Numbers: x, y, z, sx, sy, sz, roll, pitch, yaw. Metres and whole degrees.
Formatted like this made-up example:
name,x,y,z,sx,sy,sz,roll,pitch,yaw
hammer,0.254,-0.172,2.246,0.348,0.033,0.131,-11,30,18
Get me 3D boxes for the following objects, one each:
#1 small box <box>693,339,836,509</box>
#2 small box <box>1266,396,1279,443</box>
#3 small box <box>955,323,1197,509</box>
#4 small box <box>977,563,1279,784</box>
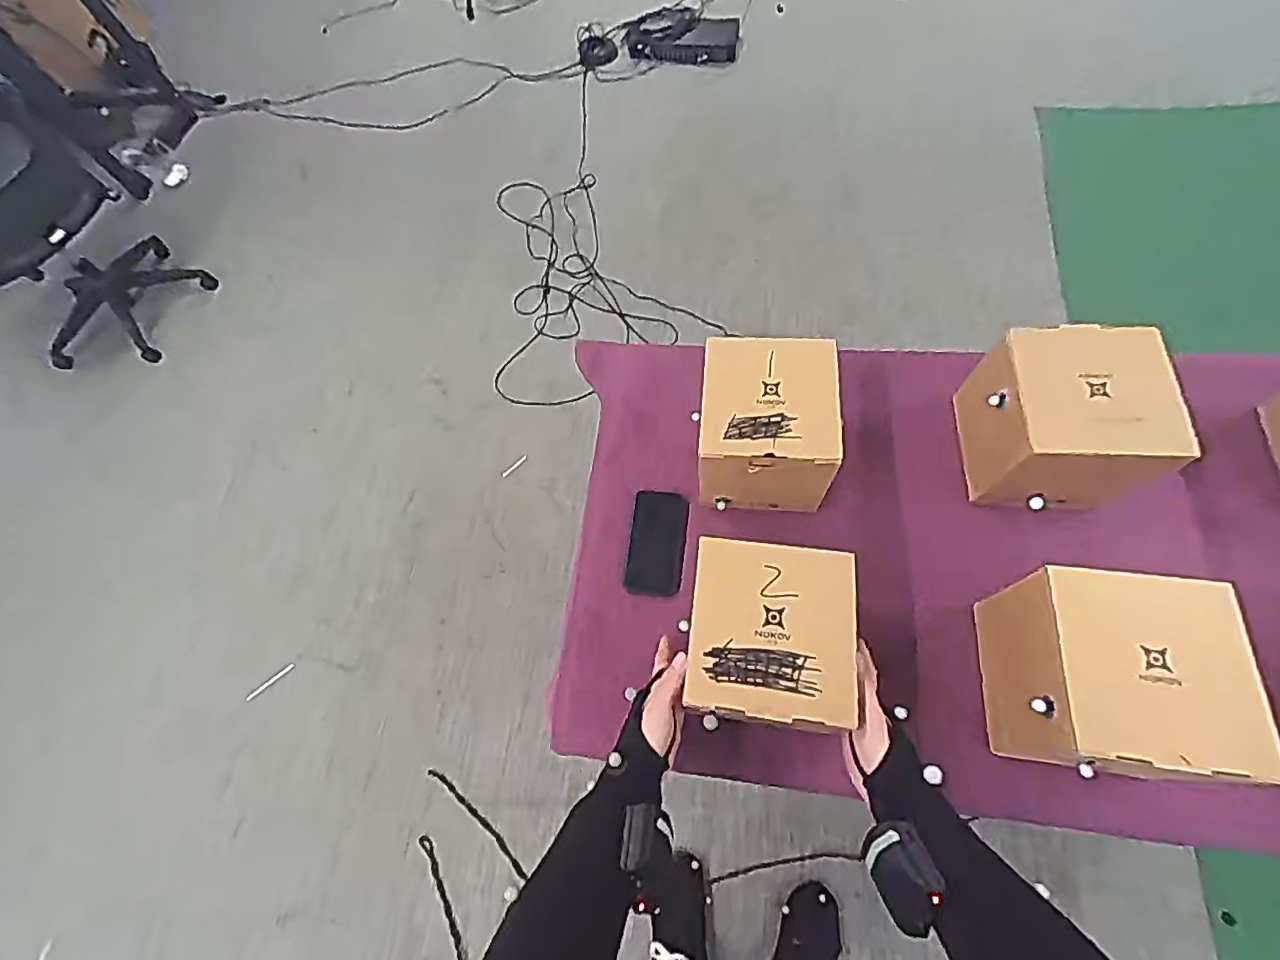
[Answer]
name,x,y,z,sx,sy,sz,roll,pitch,yaw
small box,0.163,-0.069,0.731,0.168,0.176,0.179,2,66,8
small box,0.909,-0.057,0.625,0.168,0.176,0.179,4,66,10
small box,0.525,-0.077,0.688,0.168,0.176,0.179,2,67,9
small box,0.481,0.202,0.566,0.168,0.176,0.179,4,66,9
